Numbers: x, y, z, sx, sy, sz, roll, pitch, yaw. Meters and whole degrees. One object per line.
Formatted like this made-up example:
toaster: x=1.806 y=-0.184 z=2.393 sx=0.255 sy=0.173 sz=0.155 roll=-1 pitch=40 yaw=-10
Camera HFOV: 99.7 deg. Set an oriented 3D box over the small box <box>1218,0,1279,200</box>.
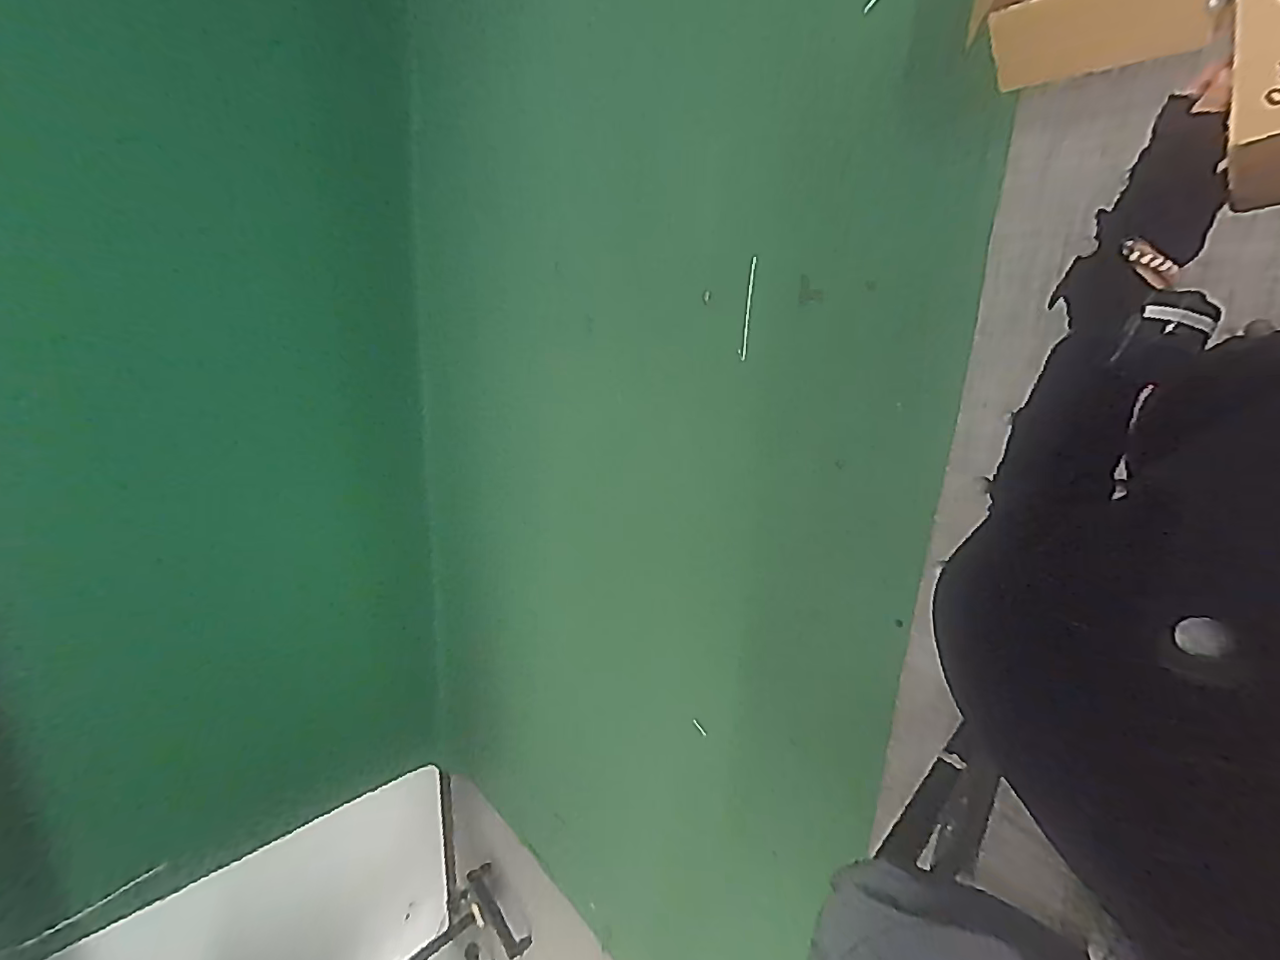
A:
small box: x=0.479 y=-0.296 z=0.322 sx=0.179 sy=0.176 sz=0.168 roll=4 pitch=97 yaw=47
